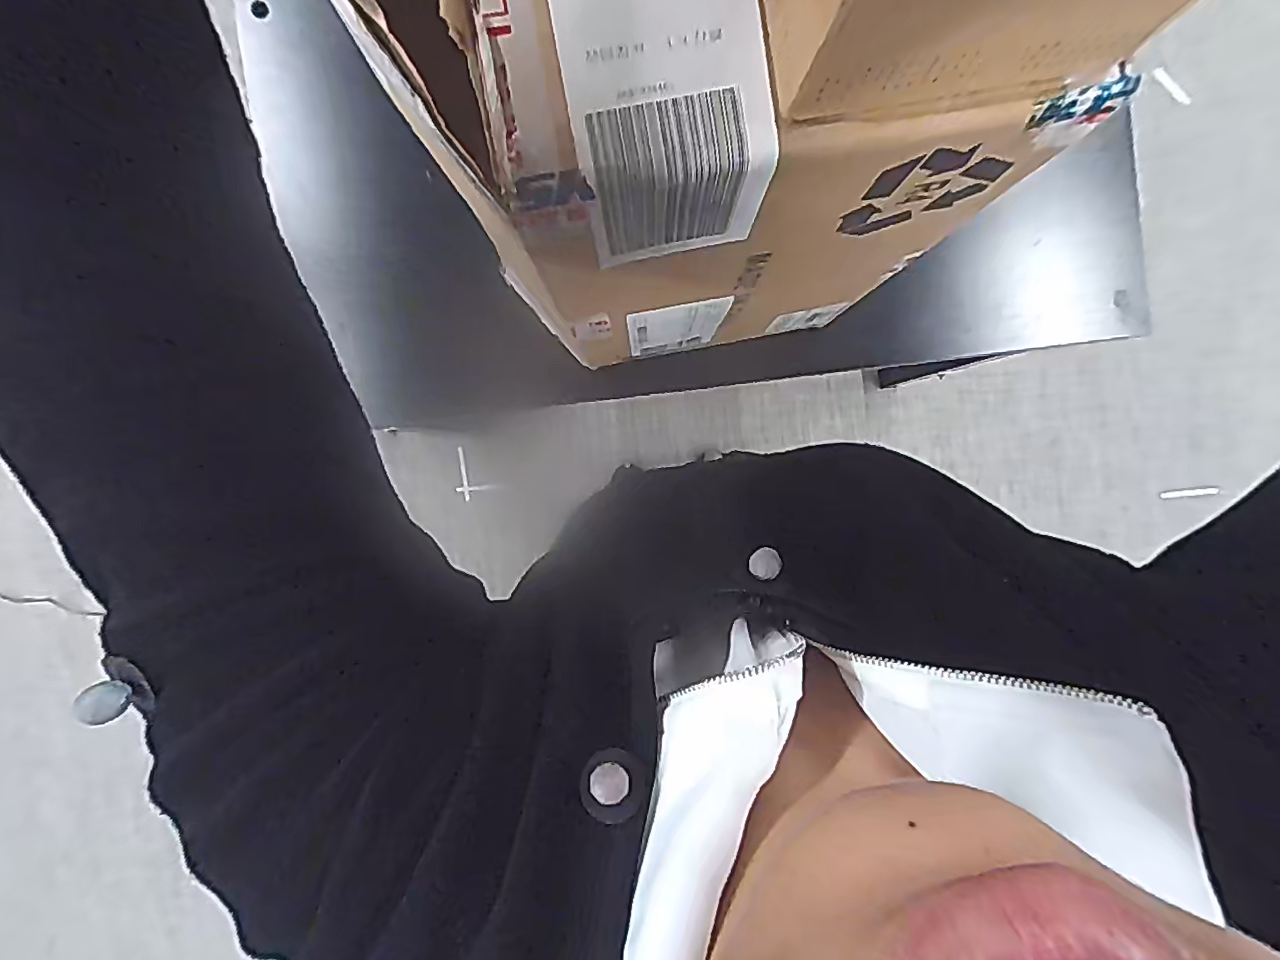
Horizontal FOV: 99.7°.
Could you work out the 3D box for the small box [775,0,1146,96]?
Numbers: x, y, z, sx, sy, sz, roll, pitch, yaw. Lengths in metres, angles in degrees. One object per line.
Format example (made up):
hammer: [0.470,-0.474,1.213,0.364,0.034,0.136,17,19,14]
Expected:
small box: [0.144,-0.277,0.192,0.179,0.176,0.168,-10,94,0]
